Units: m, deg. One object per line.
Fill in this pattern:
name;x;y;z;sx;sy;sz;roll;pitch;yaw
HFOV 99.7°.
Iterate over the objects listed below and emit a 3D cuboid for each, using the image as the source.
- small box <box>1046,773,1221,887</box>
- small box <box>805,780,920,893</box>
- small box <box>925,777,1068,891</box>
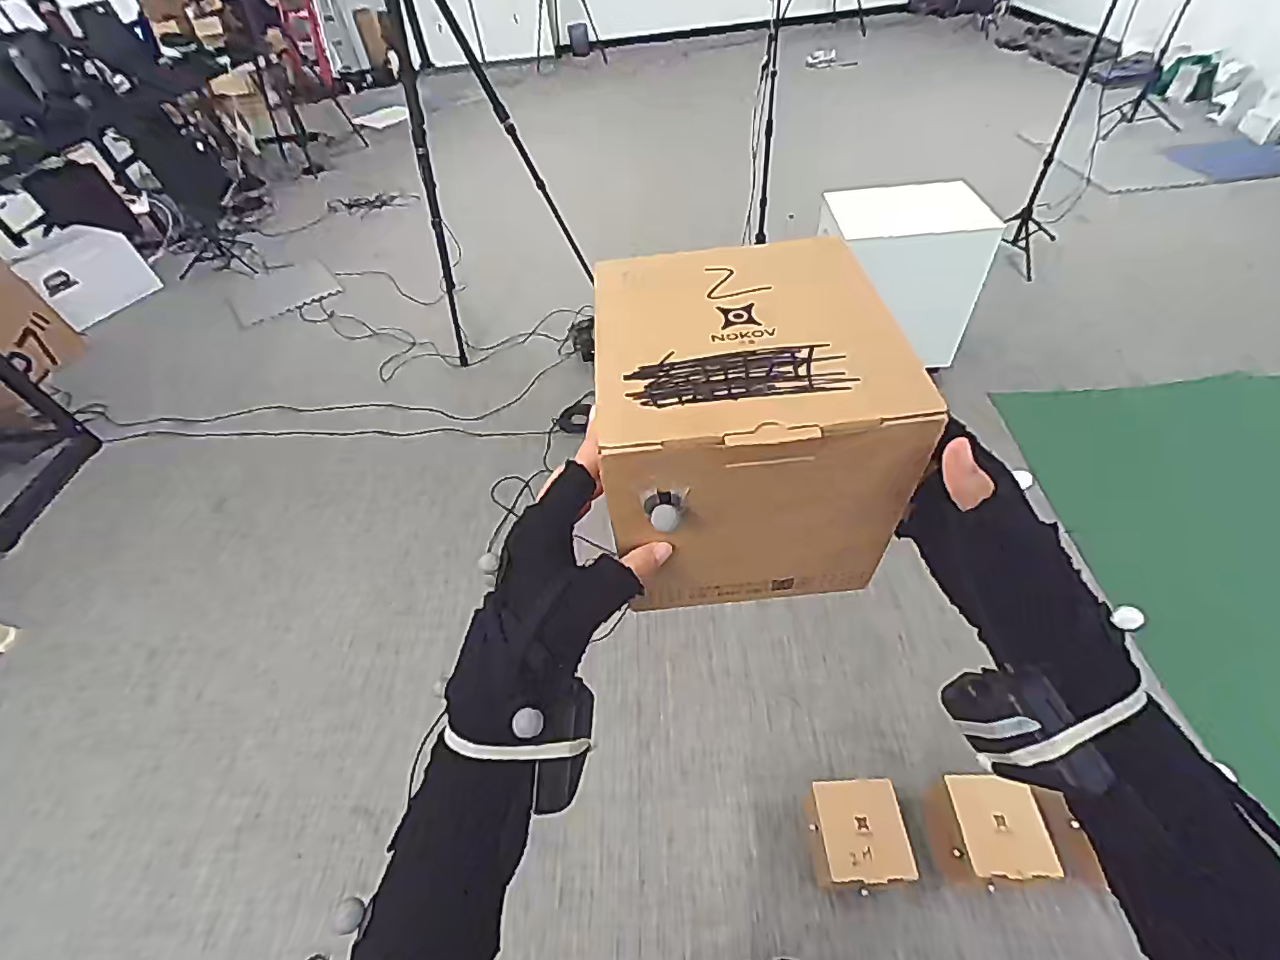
small box;0.990;0.719;1.106;0.168;0.176;0.179;-5;48;2
small box;0.454;0.751;1.137;0.168;0.176;0.179;-5;48;4
small box;0.722;0.736;1.123;0.168;0.176;0.179;-2;49;4
